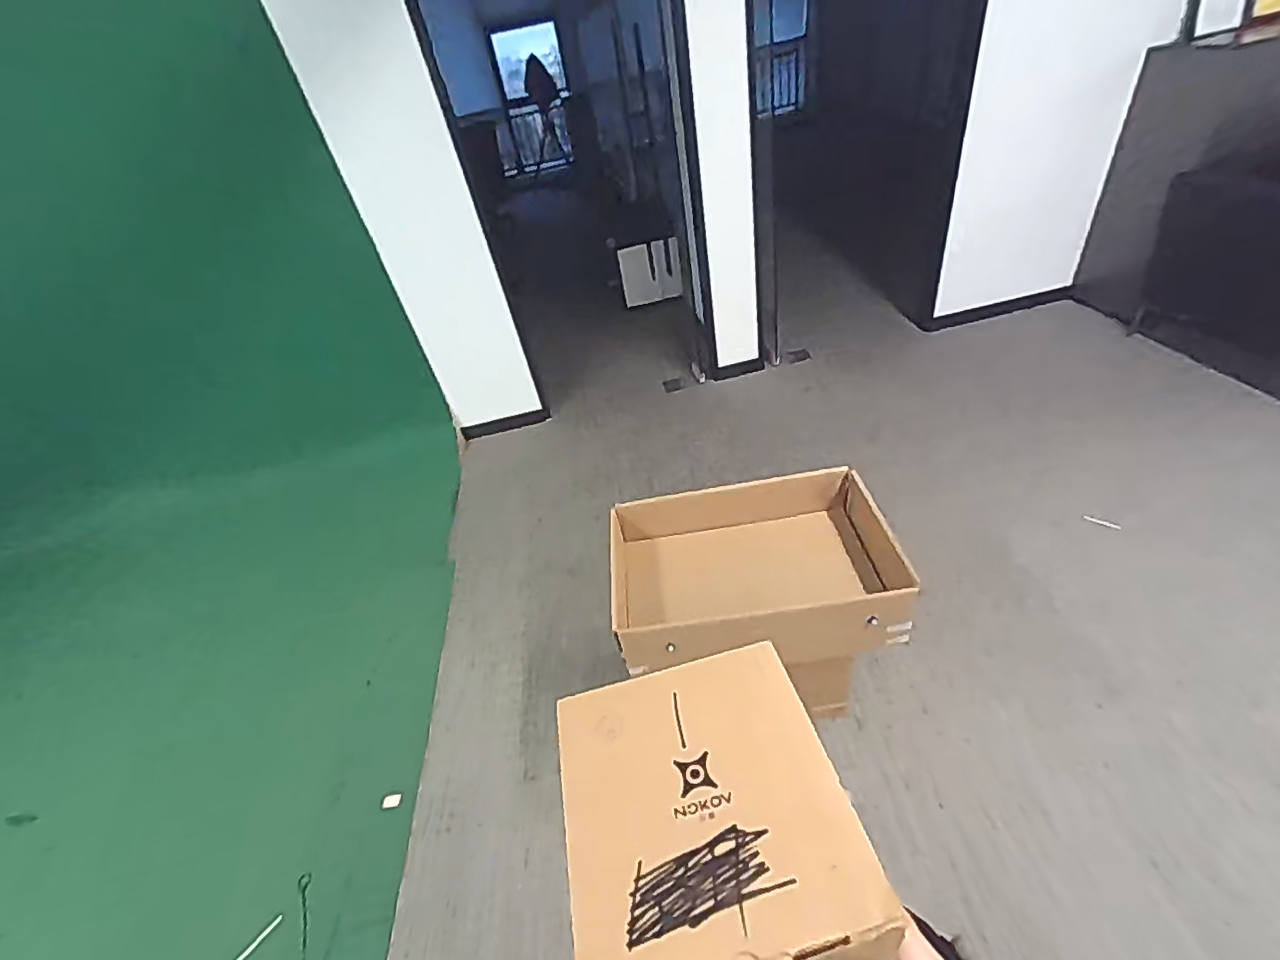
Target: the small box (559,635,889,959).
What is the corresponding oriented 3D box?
[{"bbox_3d":[0.048,0.247,0.379,0.168,0.176,0.179,-14,35,-3],"label":"small box"}]
